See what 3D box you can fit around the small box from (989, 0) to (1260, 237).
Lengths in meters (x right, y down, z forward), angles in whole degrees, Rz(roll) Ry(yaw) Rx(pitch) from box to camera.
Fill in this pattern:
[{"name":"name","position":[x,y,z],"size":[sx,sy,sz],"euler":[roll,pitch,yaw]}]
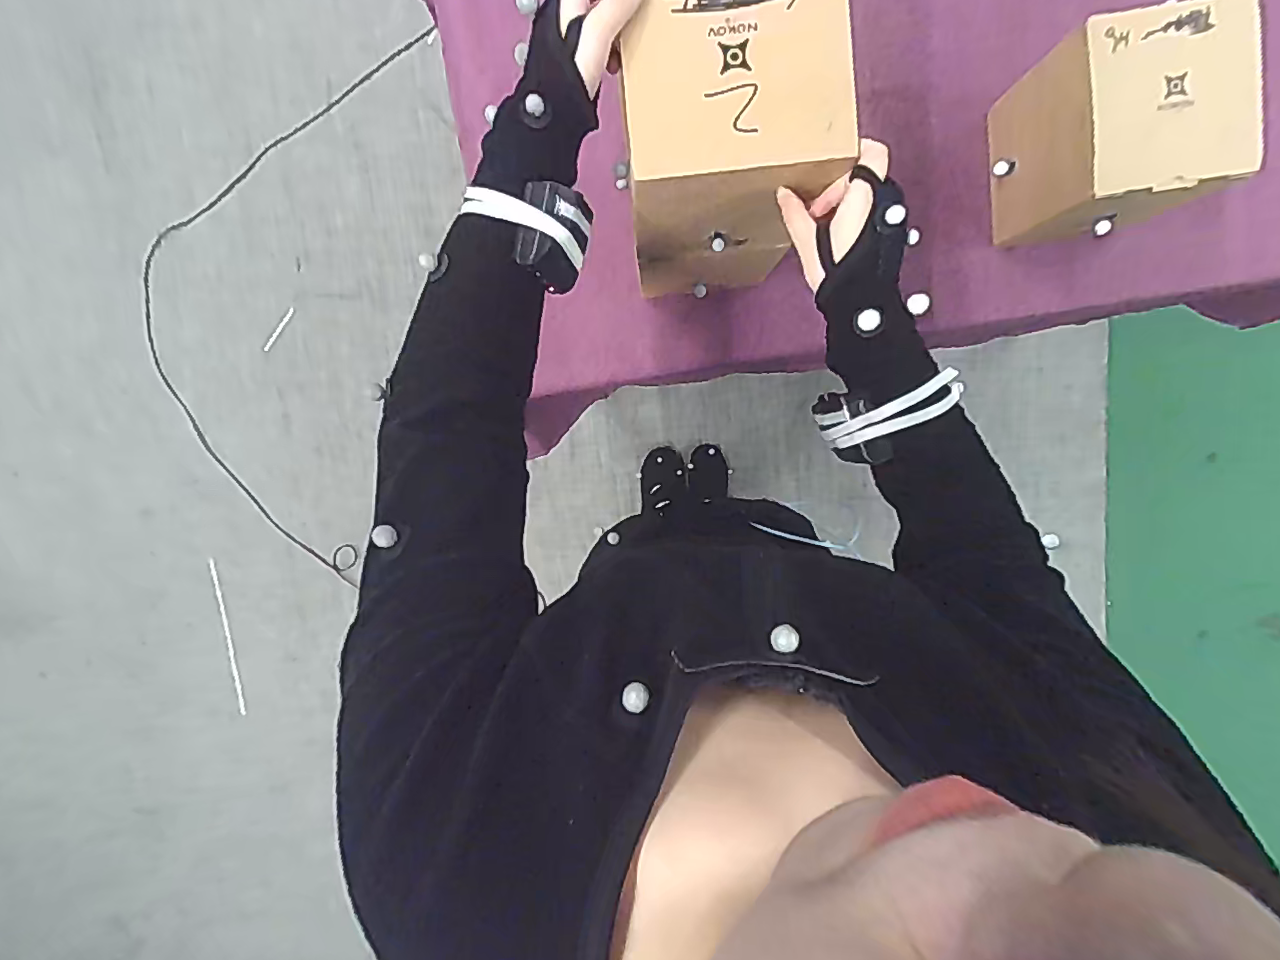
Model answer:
[{"name":"small box","position":[0.535,-0.395,0.622],"size":[0.168,0.176,0.179],"euler":[-7,97,2]}]

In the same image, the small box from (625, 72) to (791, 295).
[{"name":"small box","position":[0.073,-0.334,0.643],"size":[0.168,0.176,0.179],"euler":[-6,98,2]}]
